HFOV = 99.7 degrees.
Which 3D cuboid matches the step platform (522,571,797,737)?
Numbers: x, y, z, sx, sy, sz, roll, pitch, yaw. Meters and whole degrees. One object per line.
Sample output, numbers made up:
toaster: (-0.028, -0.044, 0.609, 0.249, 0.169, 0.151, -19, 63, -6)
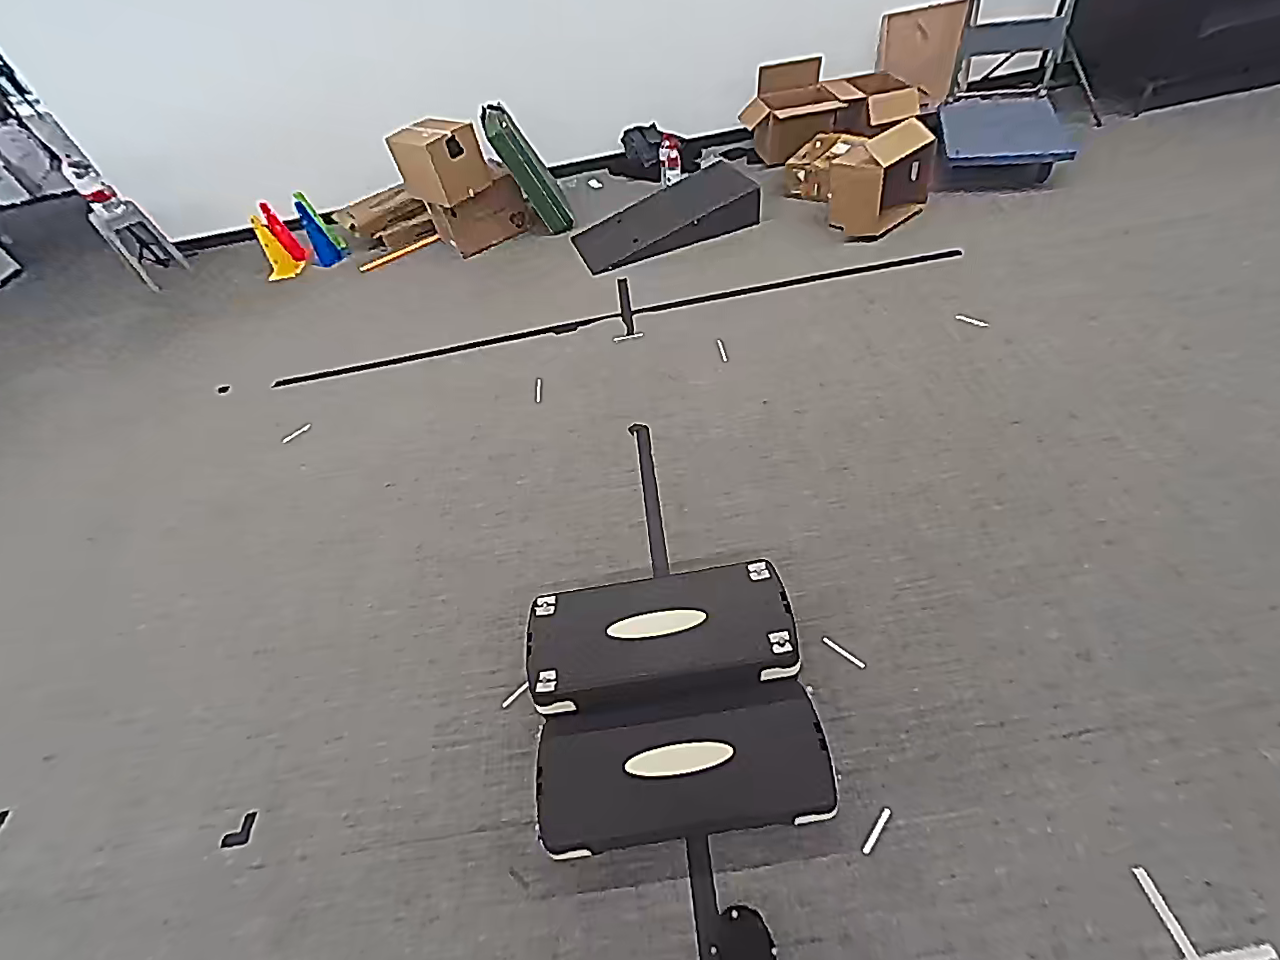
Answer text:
step platform: (0.044, 0.442, 1.391, 0.684, 0.204, 0.286, -10, 49, 1)
